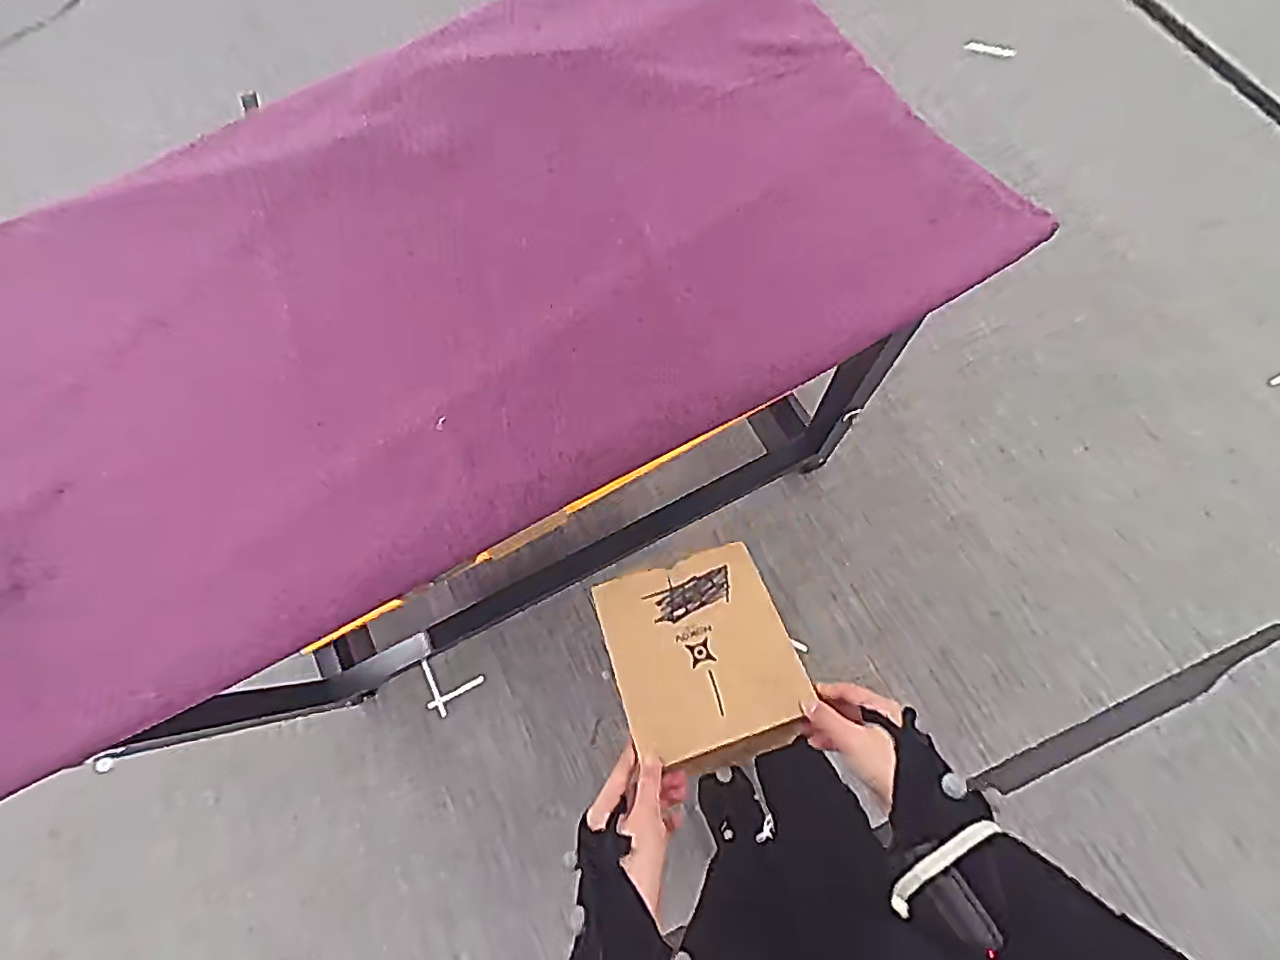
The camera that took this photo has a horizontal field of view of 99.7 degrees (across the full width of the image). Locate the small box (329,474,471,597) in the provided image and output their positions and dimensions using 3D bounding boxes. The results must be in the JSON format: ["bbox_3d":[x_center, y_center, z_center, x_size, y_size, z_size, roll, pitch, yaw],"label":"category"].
[{"bbox_3d":[-0.467,0.118,1.074,0.168,0.176,0.179,-30,75,-2],"label":"small box"}]
